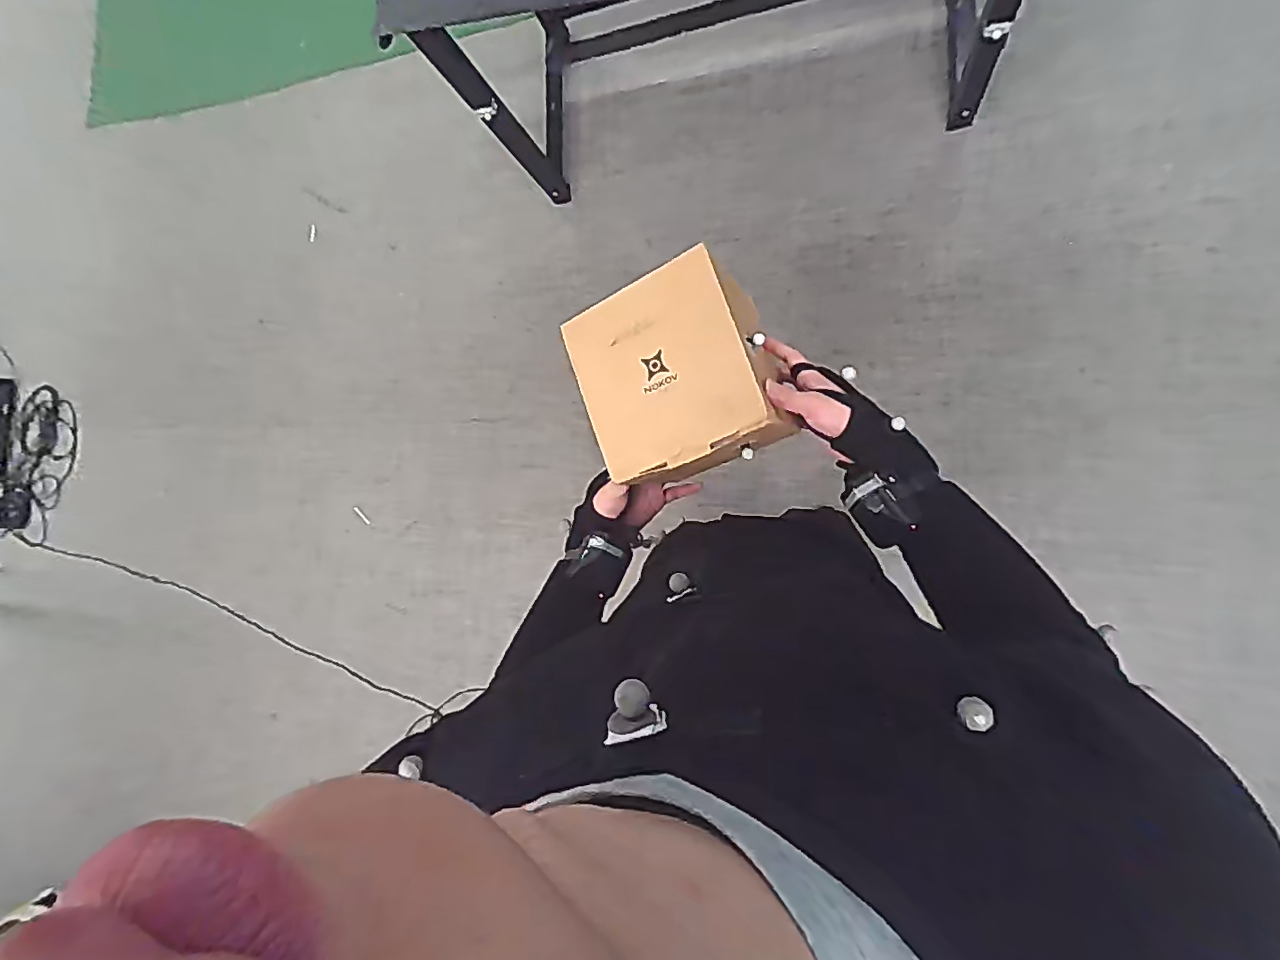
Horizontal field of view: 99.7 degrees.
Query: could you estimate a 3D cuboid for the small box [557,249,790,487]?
[{"bbox_3d":[0.044,-0.103,0.576,0.168,0.176,0.179,-22,81,24],"label":"small box"}]
